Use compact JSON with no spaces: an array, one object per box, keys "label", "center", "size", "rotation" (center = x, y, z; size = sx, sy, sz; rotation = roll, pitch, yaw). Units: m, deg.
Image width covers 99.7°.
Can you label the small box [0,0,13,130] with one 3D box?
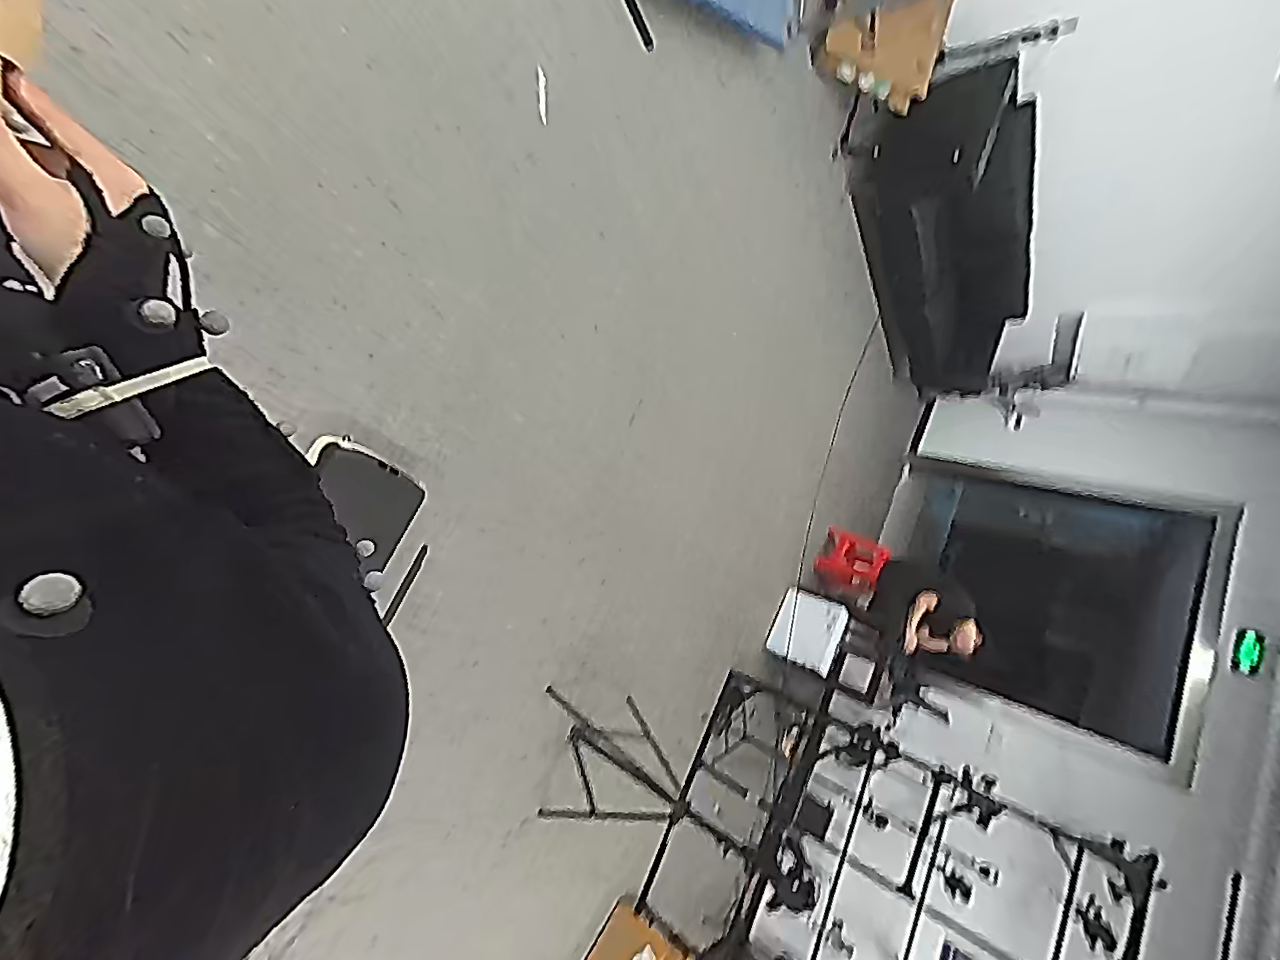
[{"label":"small box","center":[-0.437,-0.282,0.254],"size":[0.179,0.176,0.168],"rotation":[-3,103,-51]}]
